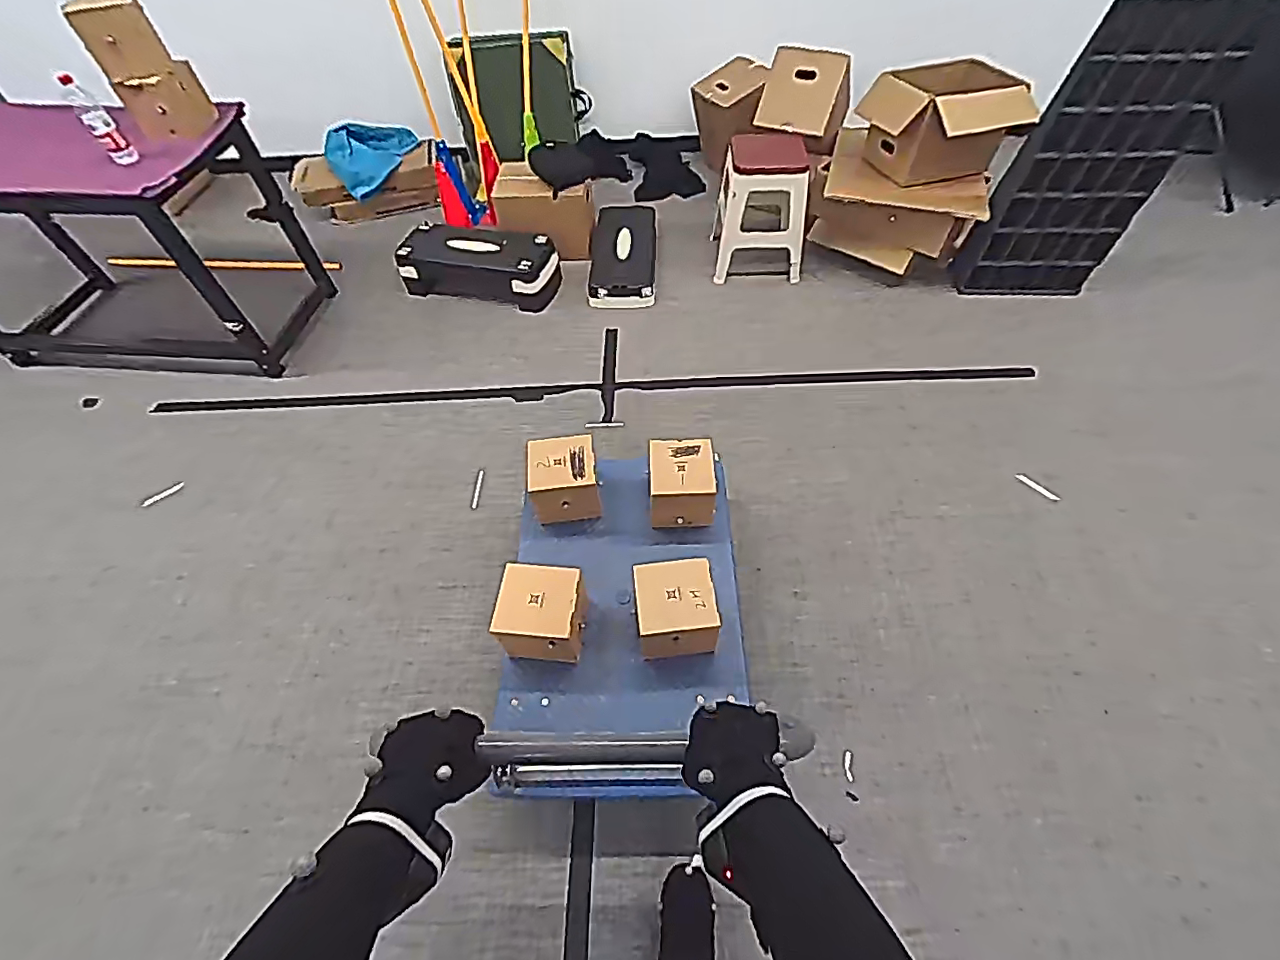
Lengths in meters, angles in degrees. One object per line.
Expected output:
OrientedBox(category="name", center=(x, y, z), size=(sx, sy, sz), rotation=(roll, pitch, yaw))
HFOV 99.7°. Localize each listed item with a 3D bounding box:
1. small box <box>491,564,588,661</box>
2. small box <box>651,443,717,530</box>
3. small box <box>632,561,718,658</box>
OrientedBox(category="small box", center=(-0.227, 0.314, 1.267), size=(0.179, 0.176, 0.168), rotation=(4, 55, 4))
OrientedBox(category="small box", center=(0.113, 0.018, 1.461), size=(0.168, 0.176, 0.179), rotation=(-1, 56, 2))
OrientedBox(category="small box", center=(0.079, 0.306, 1.259), size=(0.179, 0.176, 0.168), rotation=(-5, 55, -1))
